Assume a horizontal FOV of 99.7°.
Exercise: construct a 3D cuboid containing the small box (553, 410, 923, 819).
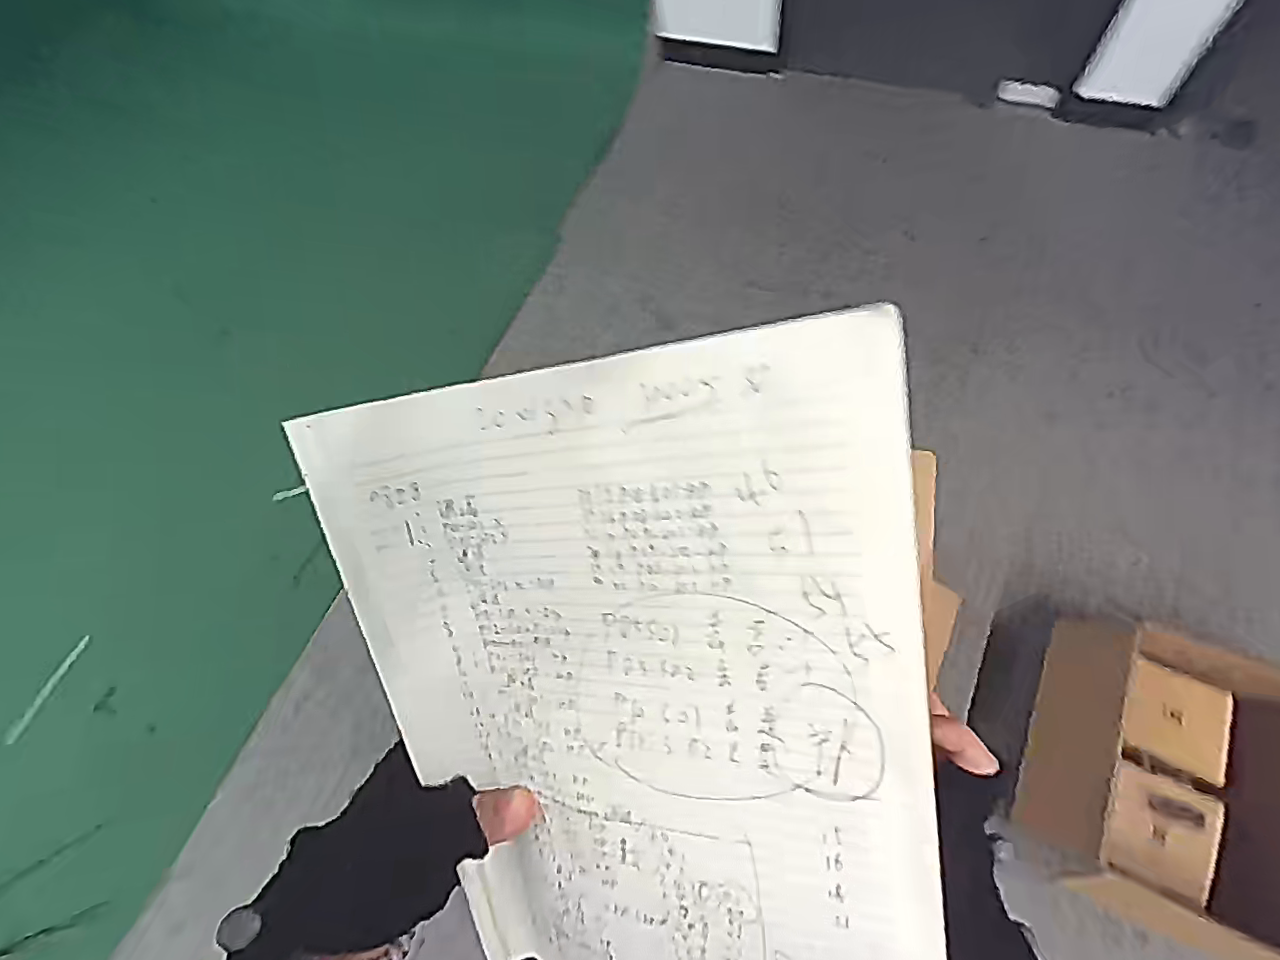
[{"bbox_3d":[0.058,0.075,0.343,0.168,0.176,0.179,8,77,8],"label":"small box"}]
